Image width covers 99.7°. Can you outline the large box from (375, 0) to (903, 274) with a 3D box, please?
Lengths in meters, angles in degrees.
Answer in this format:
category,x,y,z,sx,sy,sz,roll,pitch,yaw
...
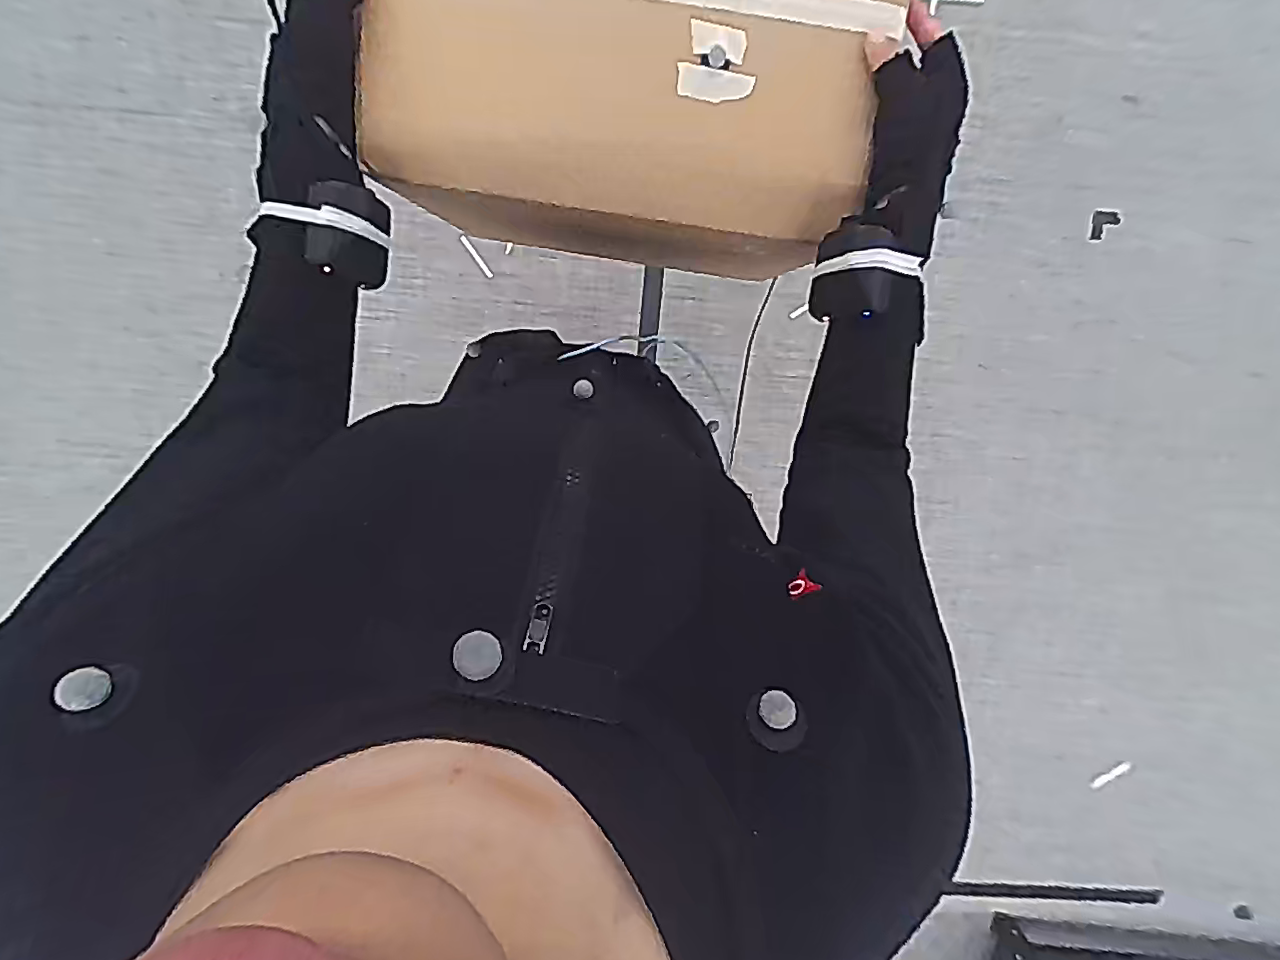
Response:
category,x,y,z,sx,sy,sz,roll,pitch,yaw
large box,-0.004,-0.408,0.551,0.408,0.320,0.320,6,107,-4
